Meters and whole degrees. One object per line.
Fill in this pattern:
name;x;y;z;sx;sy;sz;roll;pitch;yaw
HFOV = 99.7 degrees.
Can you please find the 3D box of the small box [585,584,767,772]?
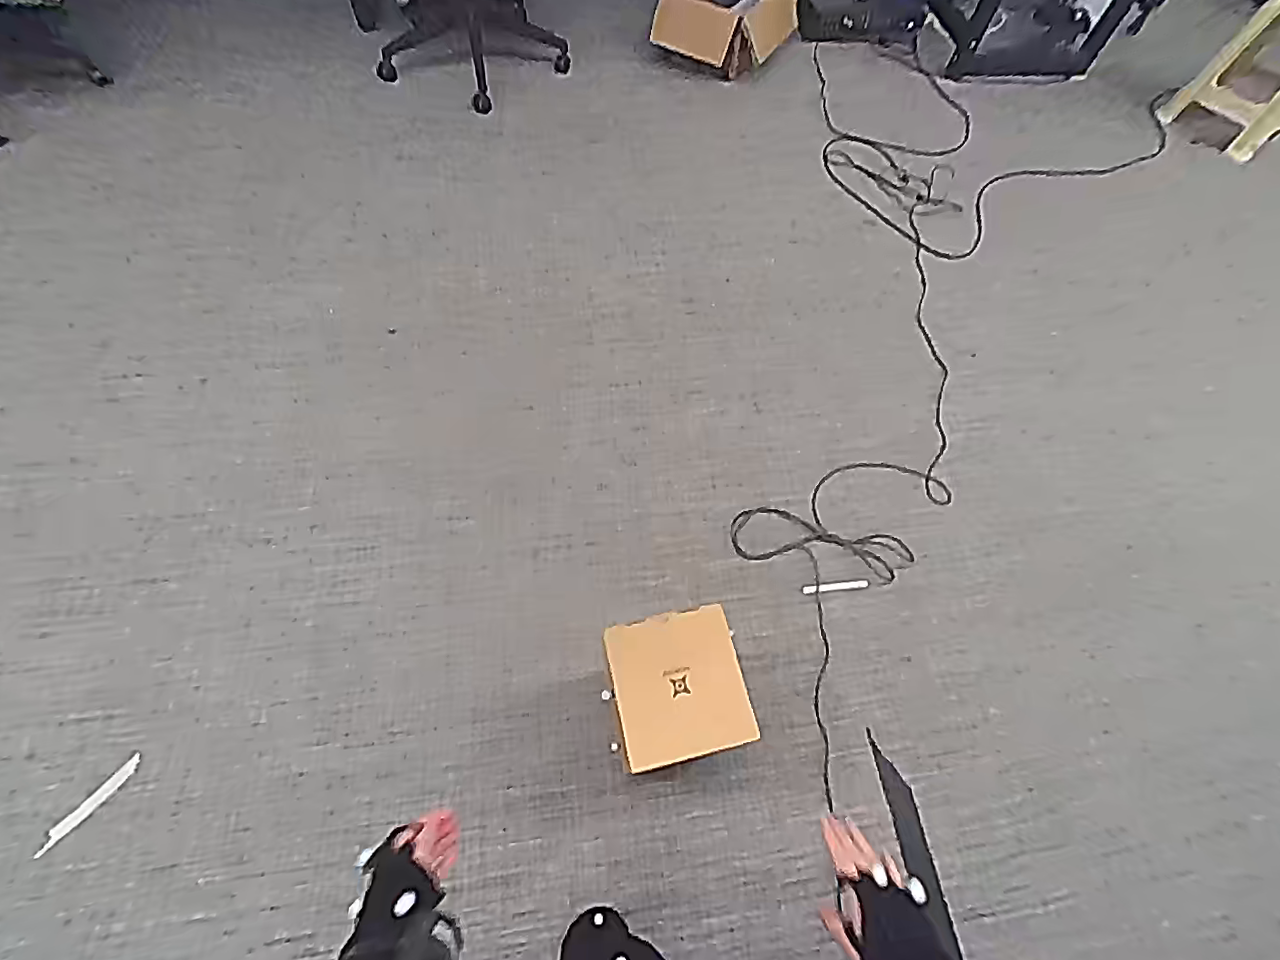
small box;0.048;0.264;0.731;0.179;0.176;0.168;-24;46;4
